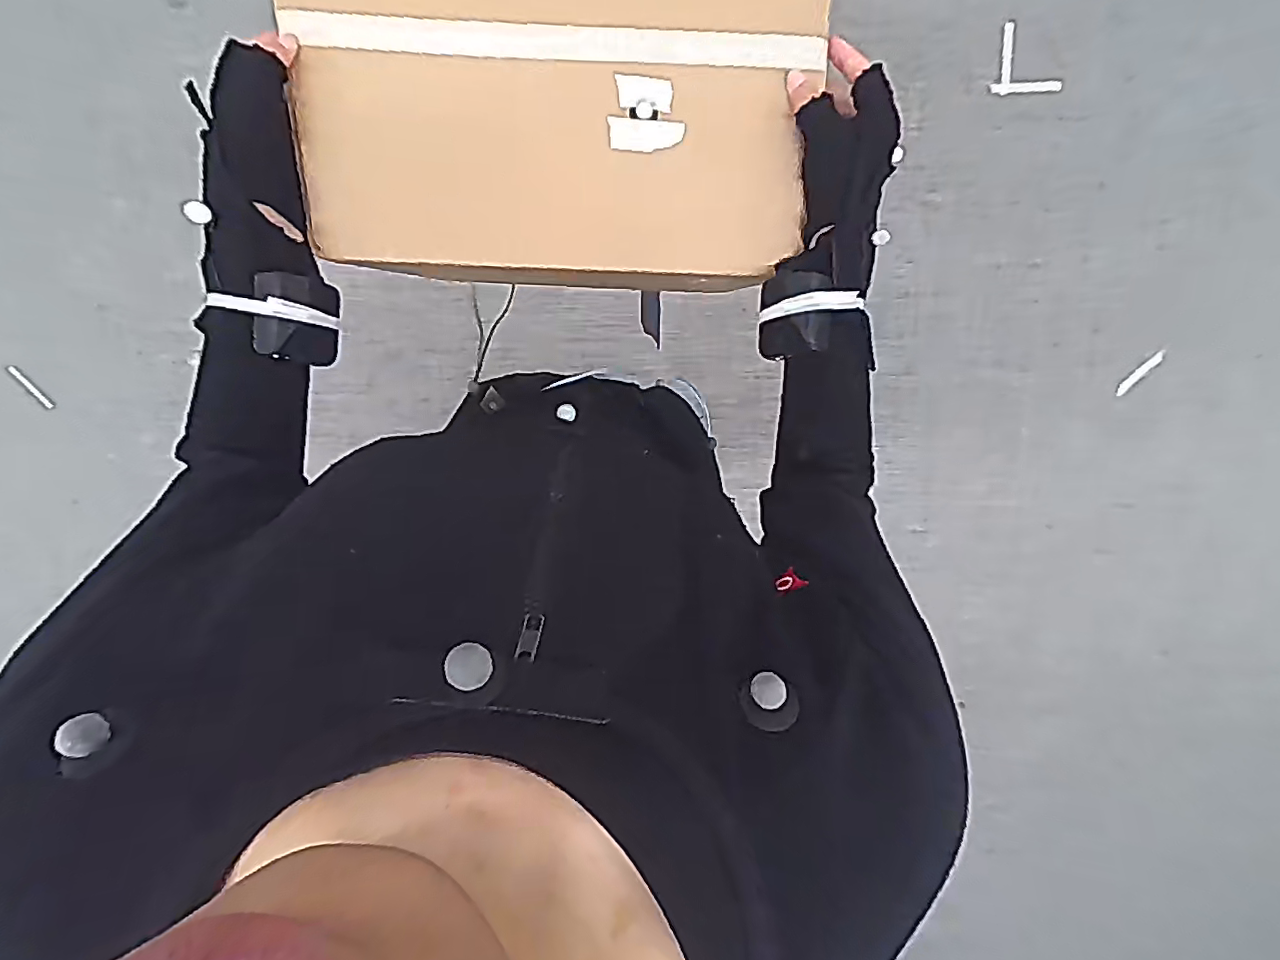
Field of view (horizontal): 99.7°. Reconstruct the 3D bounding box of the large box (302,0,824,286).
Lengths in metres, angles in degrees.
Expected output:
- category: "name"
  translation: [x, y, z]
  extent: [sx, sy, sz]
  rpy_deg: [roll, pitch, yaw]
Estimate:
- category: "large box"
  translation: [-0.064, -0.376, 0.562]
  extent: [0.408, 0.320, 0.320]
  rpy_deg: [1, 108, -3]
